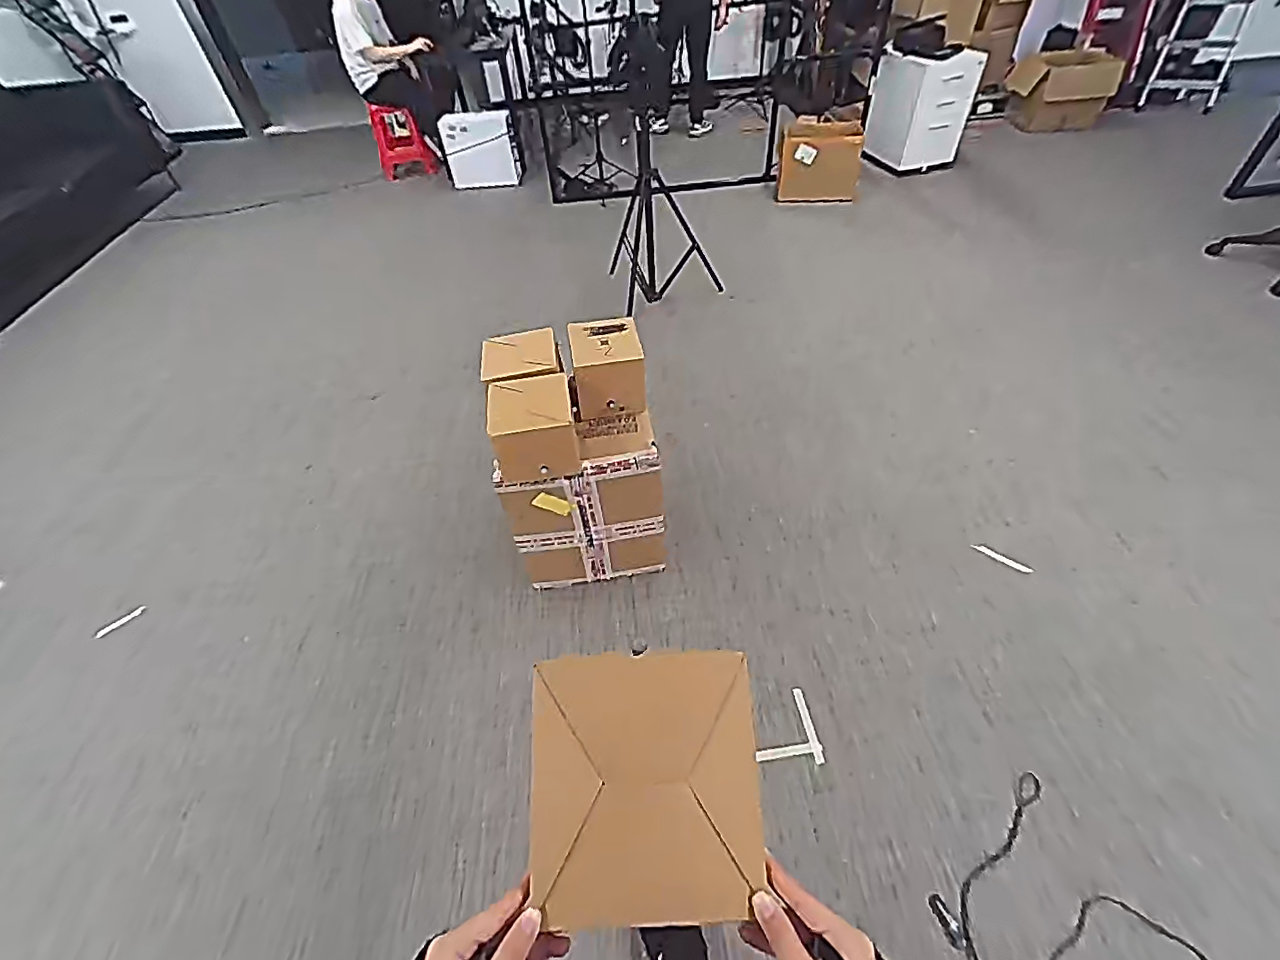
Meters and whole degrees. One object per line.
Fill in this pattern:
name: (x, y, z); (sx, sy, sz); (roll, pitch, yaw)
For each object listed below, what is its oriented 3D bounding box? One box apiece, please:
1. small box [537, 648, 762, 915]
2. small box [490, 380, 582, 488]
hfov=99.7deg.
small box: (0.004, 0.244, 0.476); (0.168, 0.176, 0.179); (-2, 74, -2)
small box: (-0.236, -0.106, 1.224); (0.179, 0.176, 0.168); (-9, 51, -3)
